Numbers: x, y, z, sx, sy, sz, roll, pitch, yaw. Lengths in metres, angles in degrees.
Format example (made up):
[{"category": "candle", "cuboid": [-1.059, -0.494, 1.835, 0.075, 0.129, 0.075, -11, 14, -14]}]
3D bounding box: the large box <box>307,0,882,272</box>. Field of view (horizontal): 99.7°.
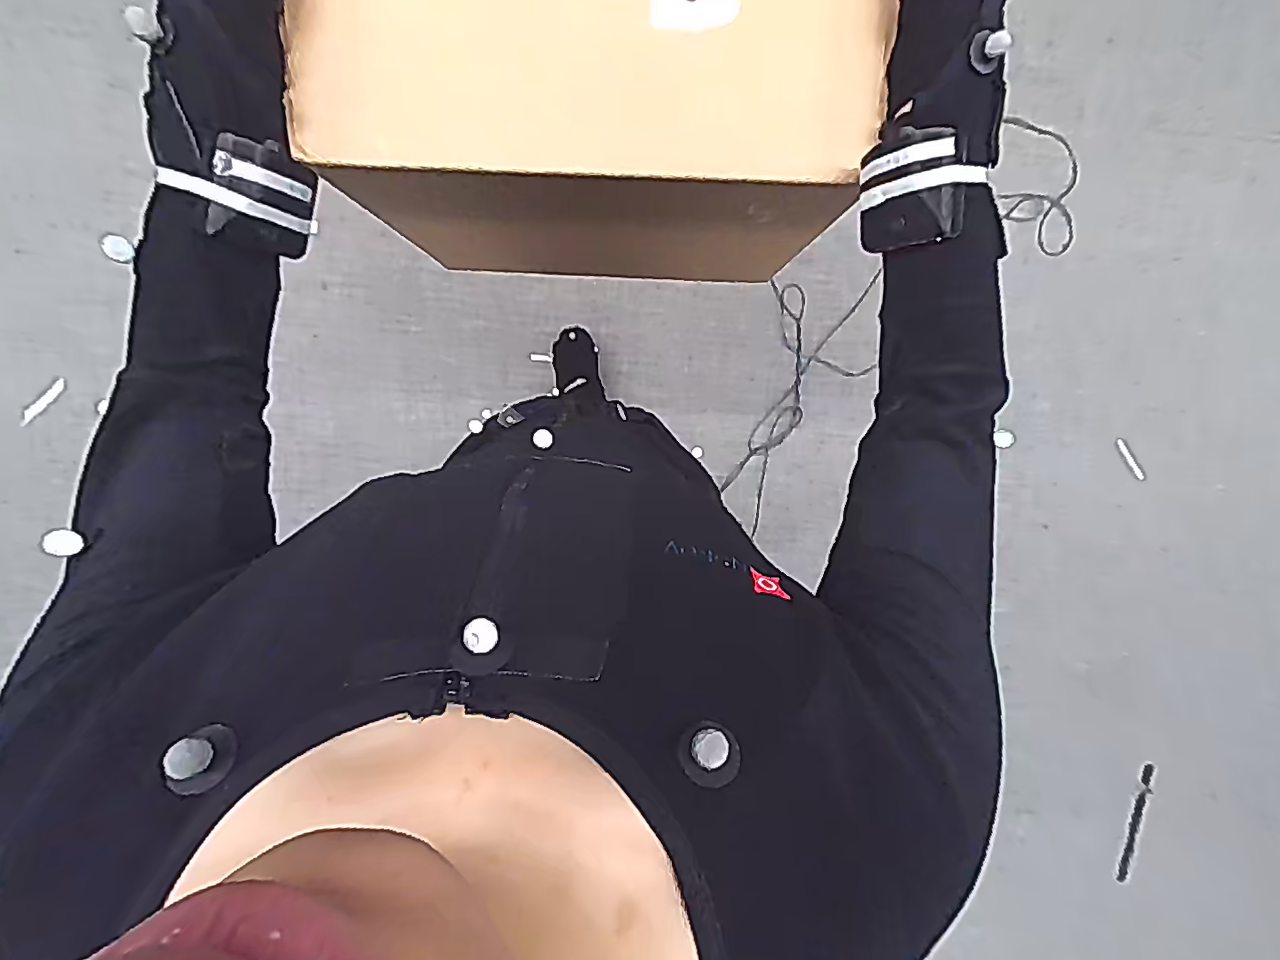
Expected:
[{"category": "large box", "cuboid": [-0.032, -0.396, 0.514, 0.408, 0.320, 0.320, 1, 98, -1]}]
